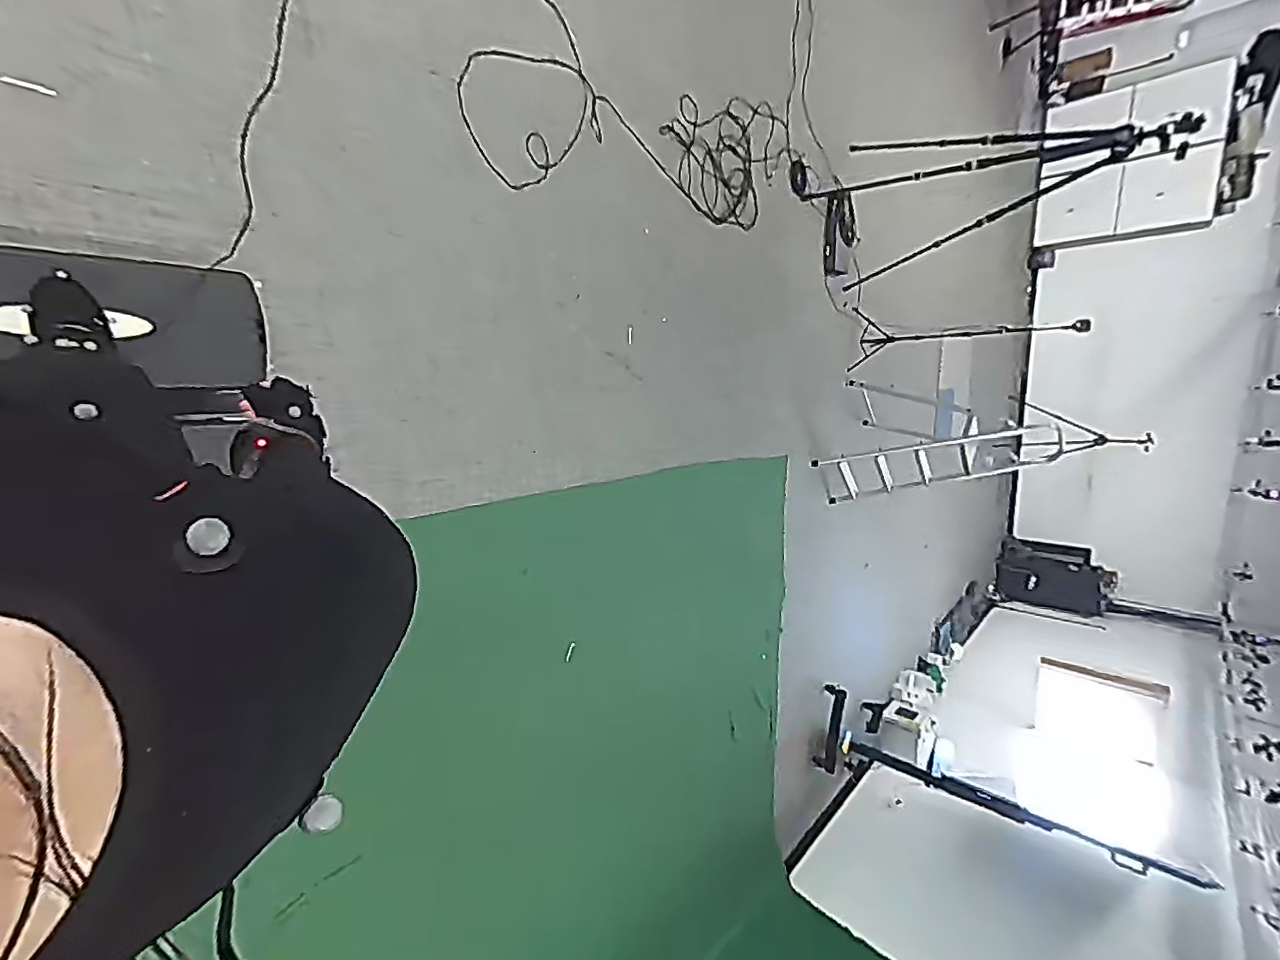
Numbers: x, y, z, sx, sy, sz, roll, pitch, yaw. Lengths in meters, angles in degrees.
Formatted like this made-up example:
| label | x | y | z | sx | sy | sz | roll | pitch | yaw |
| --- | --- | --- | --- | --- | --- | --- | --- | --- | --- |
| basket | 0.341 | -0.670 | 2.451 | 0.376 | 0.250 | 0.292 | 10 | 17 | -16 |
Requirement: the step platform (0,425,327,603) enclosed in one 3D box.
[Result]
| label | x | y | z | sx | sy | sz | roll | pitch | yaw |
| --- | --- | --- | --- | --- | --- | --- | --- | --- | --- |
| step platform | -0.979 | 0.061 | 0.980 | 0.684 | 0.204 | 0.286 | -11 | 104 | -47 |
